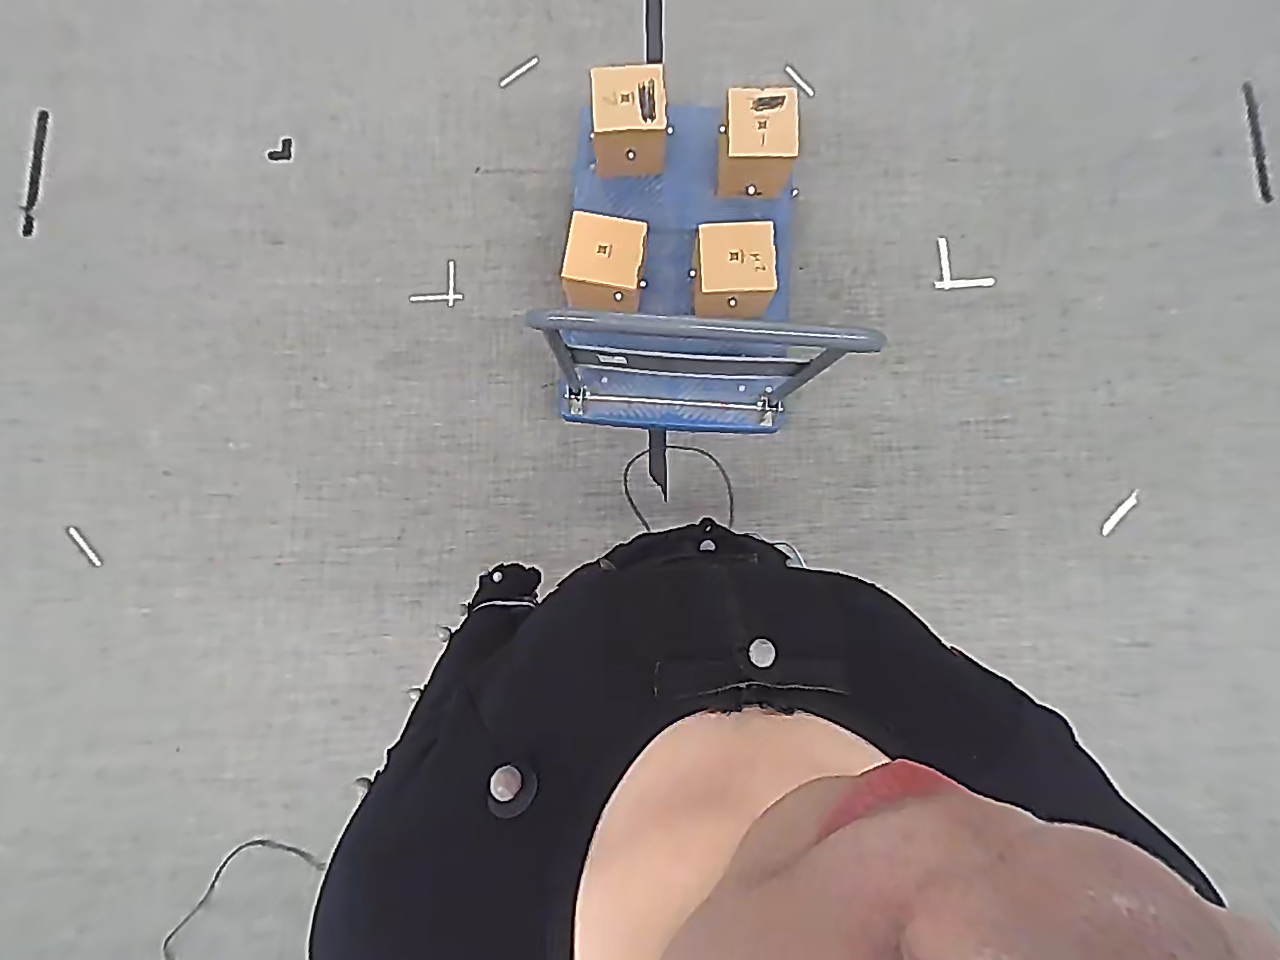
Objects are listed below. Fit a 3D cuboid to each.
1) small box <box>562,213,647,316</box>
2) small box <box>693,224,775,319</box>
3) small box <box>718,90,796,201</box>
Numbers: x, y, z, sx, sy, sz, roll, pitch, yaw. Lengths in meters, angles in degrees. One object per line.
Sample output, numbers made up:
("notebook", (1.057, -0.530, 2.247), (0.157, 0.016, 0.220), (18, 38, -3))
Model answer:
("small box", (-0.083, -0.521, 1.330), (0.179, 0.176, 0.168), (9, 84, -1))
("small box", (0.223, -0.506, 1.330), (0.179, 0.176, 0.168), (-2, 85, 0))
("small box", (0.288, -0.836, 1.360), (0.168, 0.176, 0.179), (0, 86, 0))
